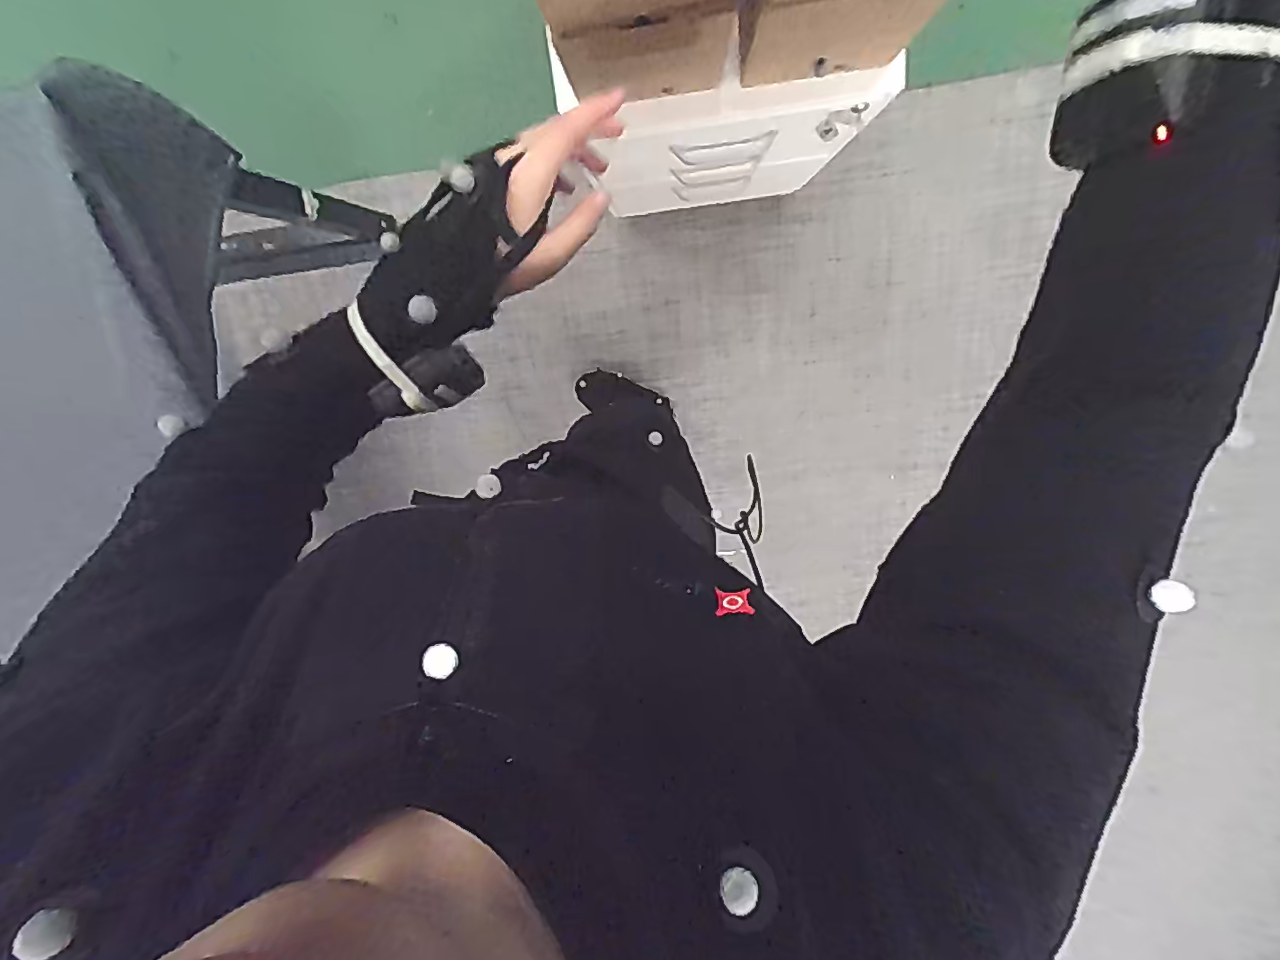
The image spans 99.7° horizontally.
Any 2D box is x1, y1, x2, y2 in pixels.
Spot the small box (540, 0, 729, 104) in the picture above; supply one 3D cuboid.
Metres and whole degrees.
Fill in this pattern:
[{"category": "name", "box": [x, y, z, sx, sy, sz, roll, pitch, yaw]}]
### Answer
[{"category": "small box", "box": [-0.007, -0.494, 0.525, 0.168, 0.176, 0.179, -5, 106, 3]}]
